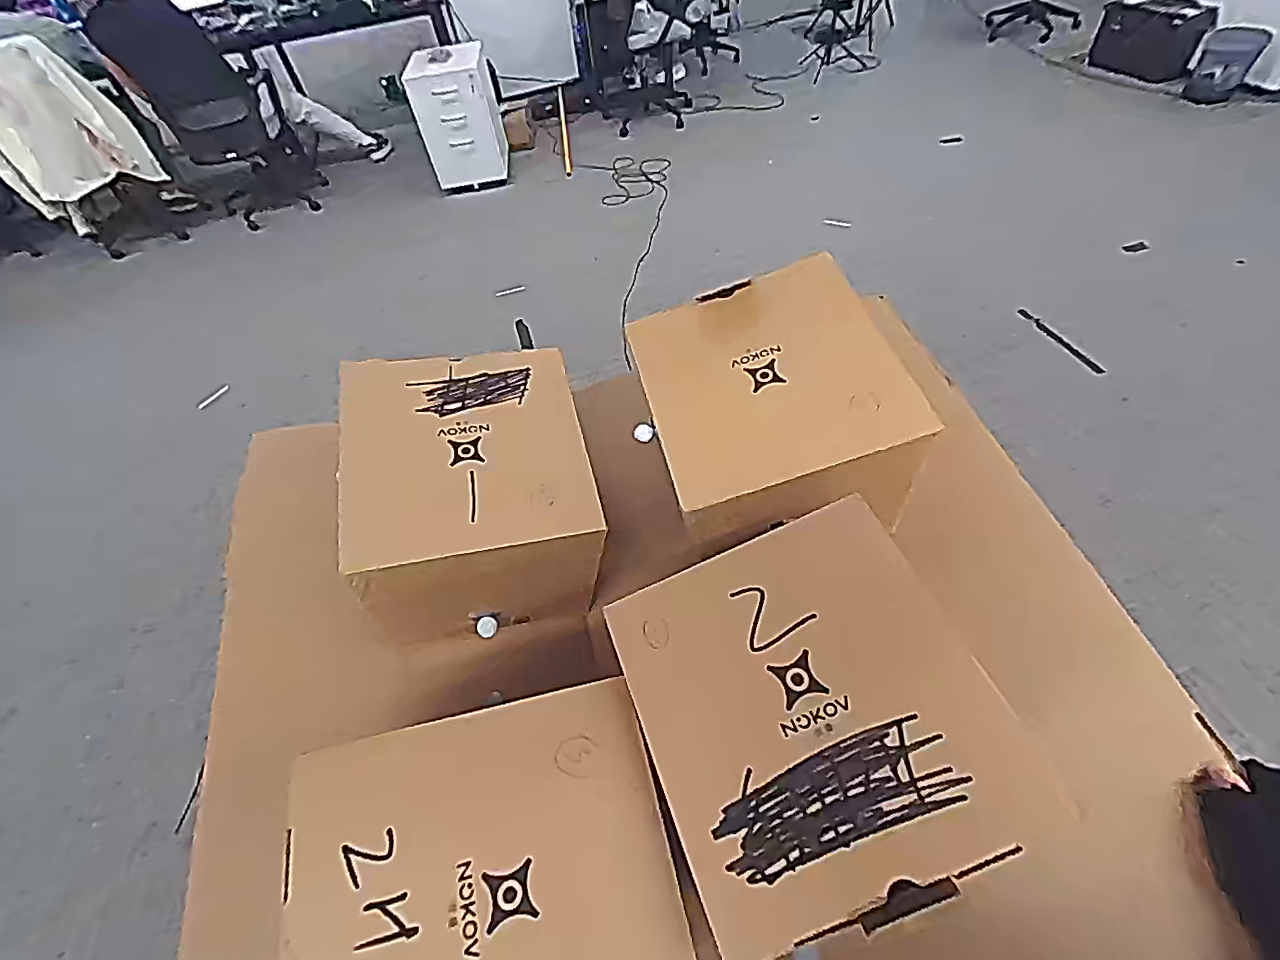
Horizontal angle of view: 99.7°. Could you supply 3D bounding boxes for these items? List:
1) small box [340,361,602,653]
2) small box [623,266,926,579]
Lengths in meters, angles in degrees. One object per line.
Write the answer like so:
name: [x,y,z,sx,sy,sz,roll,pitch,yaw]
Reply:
small box: [-0.135,0.023,0.456,0.168,0.176,0.179,-7,57,-15]
small box: [0.101,-0.033,0.448,0.168,0.176,0.179,-19,57,4]
